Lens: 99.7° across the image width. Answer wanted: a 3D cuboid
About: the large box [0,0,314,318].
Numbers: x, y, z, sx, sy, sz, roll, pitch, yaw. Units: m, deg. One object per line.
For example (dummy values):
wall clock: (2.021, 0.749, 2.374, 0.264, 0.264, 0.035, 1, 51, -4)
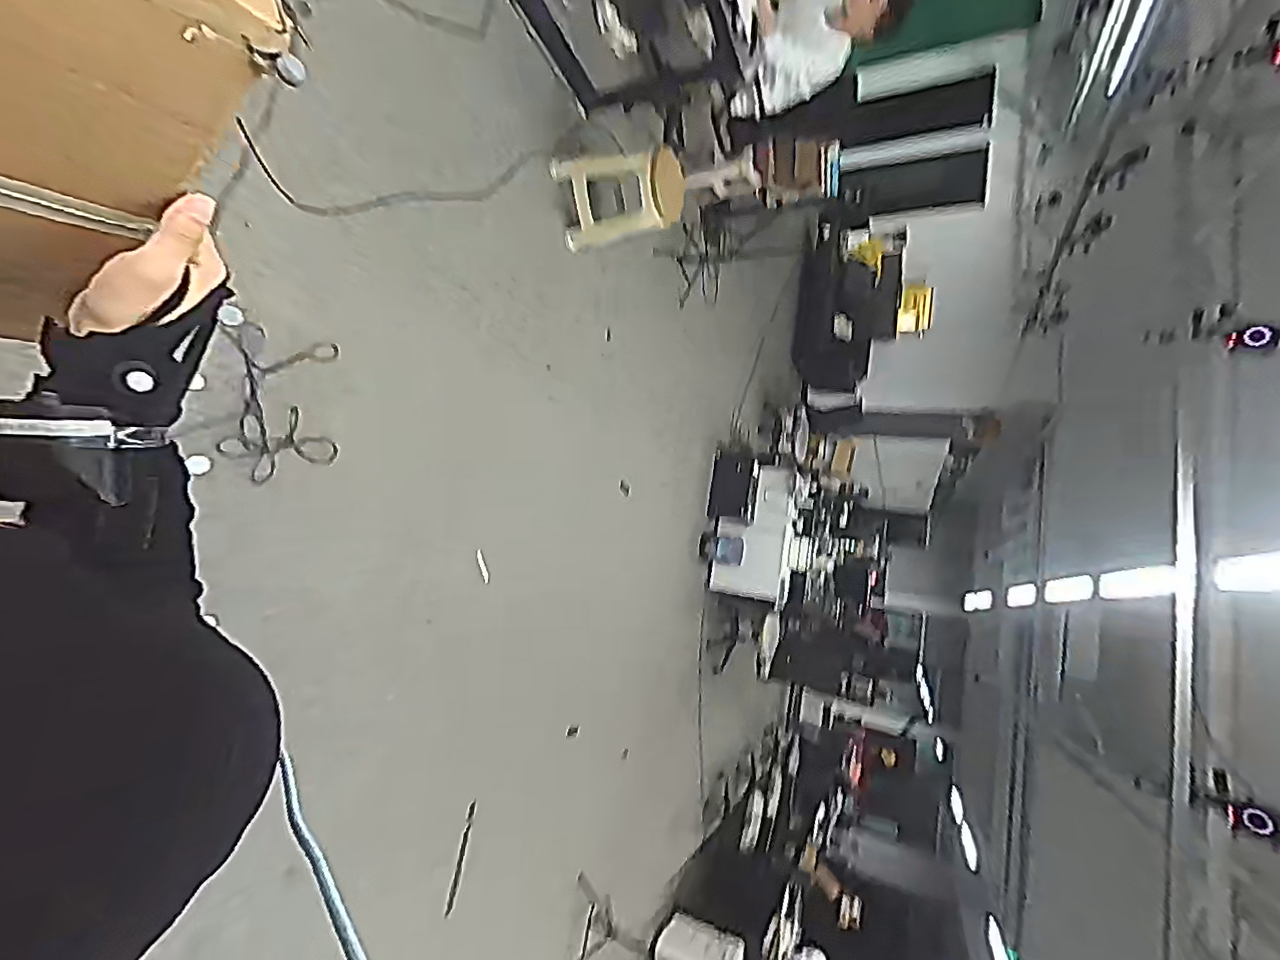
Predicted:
large box: (-0.411, -0.298, 0.167, 0.408, 0.320, 0.320, -6, 76, -59)
